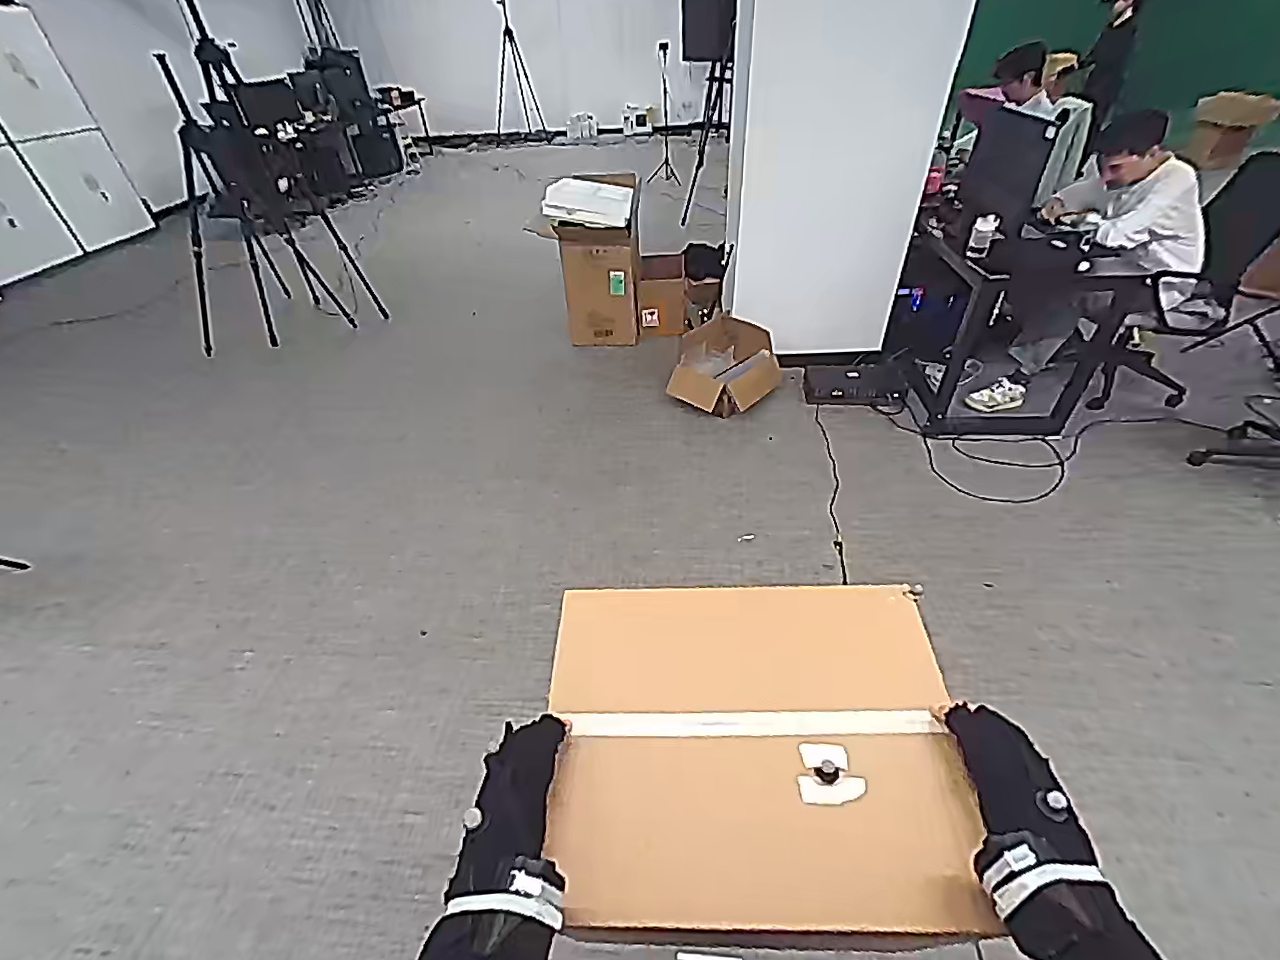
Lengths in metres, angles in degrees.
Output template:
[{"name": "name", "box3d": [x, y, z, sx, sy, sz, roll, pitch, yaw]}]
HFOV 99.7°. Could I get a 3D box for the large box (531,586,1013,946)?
[{"name": "large box", "box3d": [0.113, 0.346, 0.650, 0.408, 0.320, 0.320, -2, 47, 3]}]
